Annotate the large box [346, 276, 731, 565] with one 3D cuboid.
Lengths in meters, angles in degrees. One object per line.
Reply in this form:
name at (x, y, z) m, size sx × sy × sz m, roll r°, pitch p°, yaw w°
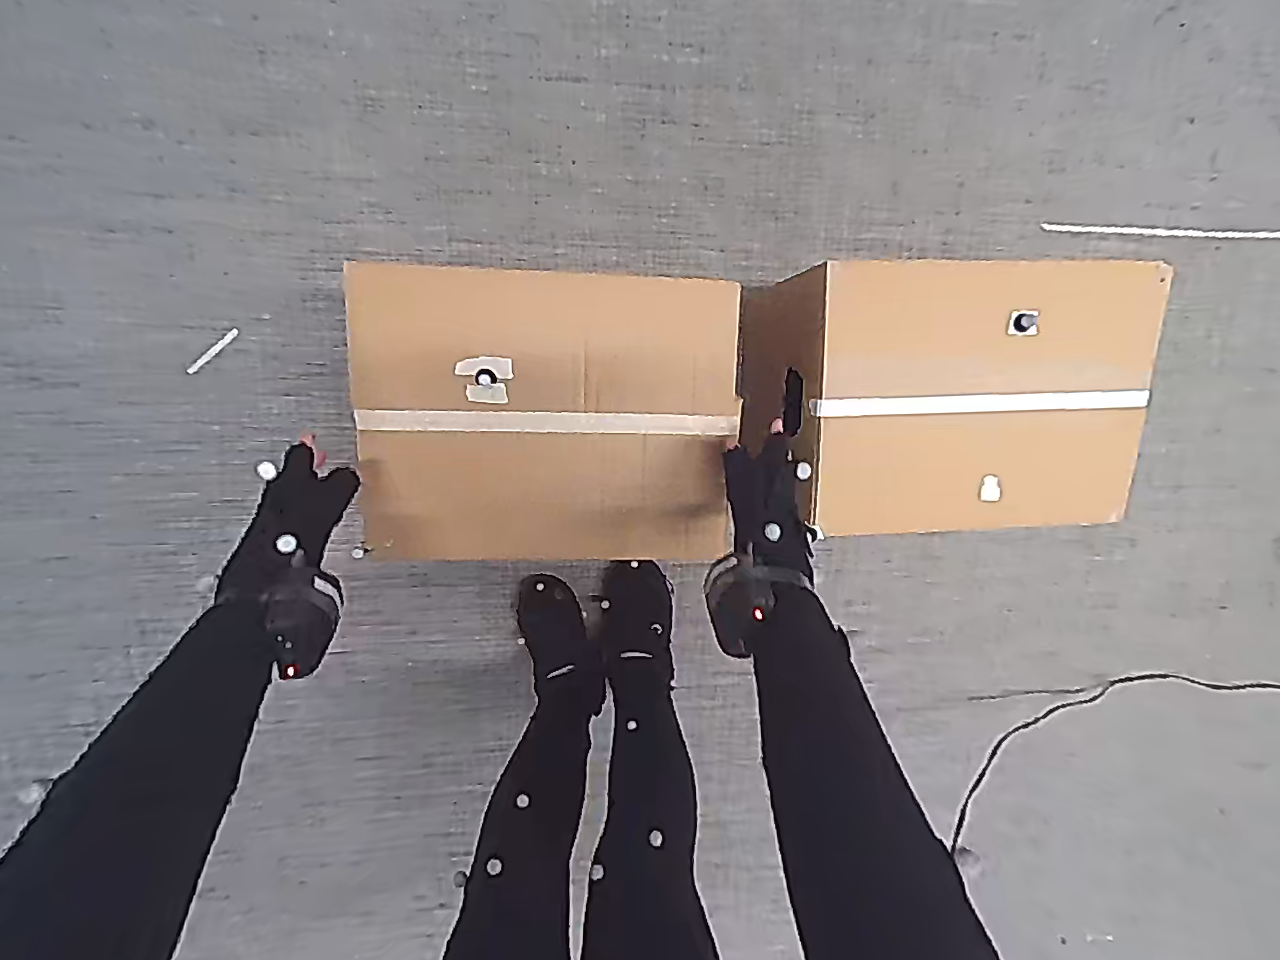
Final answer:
large box at (-0.111, -0.084, 0.730) m, size 0.408 × 0.320 × 0.320 m, roll 1°, pitch 100°, yaw -5°
